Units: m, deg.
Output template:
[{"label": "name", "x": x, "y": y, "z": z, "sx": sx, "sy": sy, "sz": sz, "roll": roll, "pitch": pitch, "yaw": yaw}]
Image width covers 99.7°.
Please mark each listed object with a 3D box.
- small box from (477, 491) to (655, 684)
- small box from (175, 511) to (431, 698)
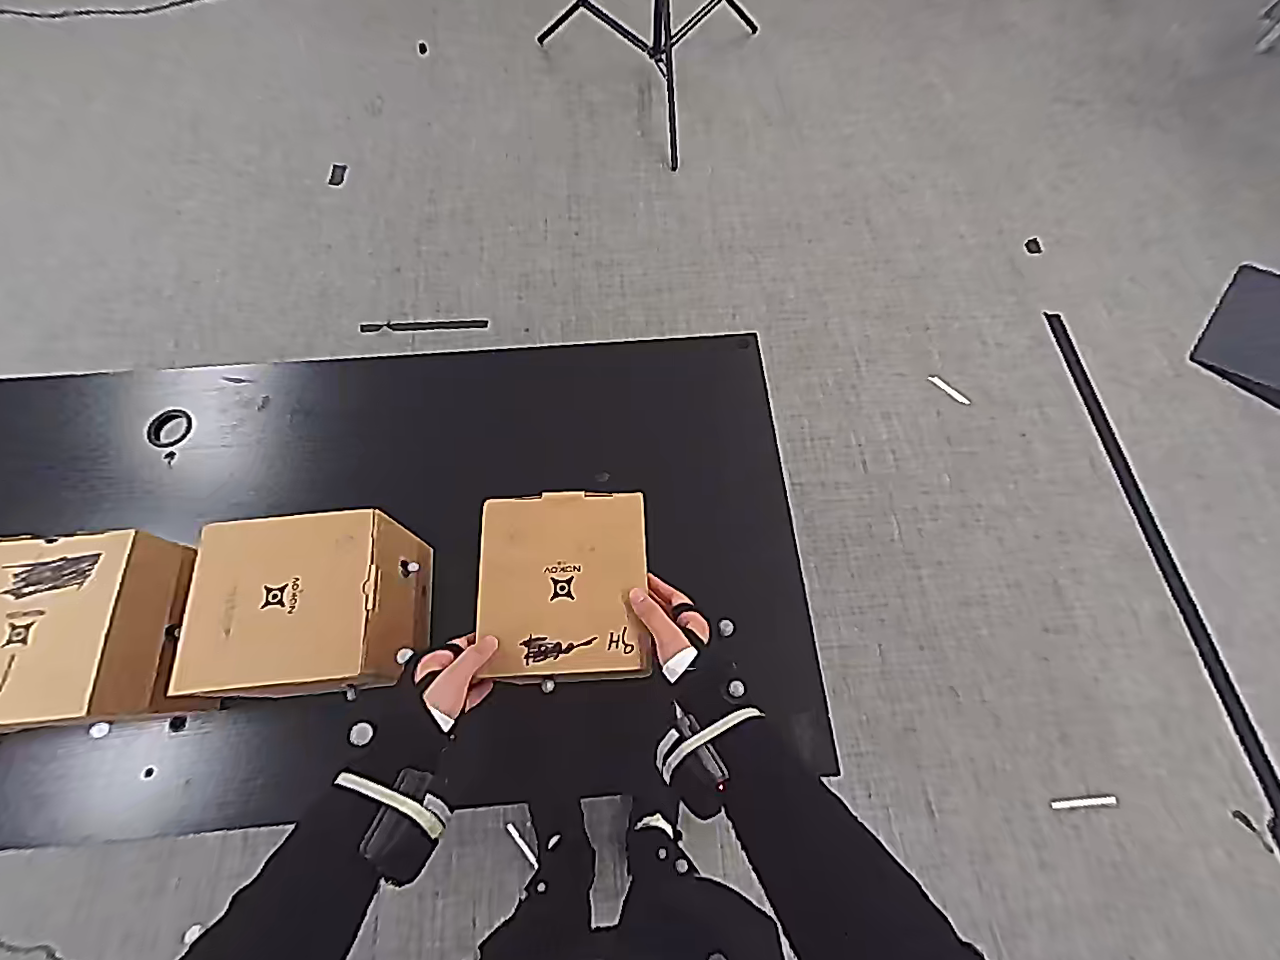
[{"label": "small box", "x": -0.073, "y": 0.126, "z": 0.602, "sx": 0.168, "sy": 0.176, "sz": 0.179, "roll": -3, "pitch": 67, "yaw": -1}, {"label": "small box", "x": -0.345, "y": 0.144, "z": 0.597, "sx": 0.179, "sy": 0.176, "sz": 0.168, "roll": -6, "pitch": 67, "yaw": -2}]
